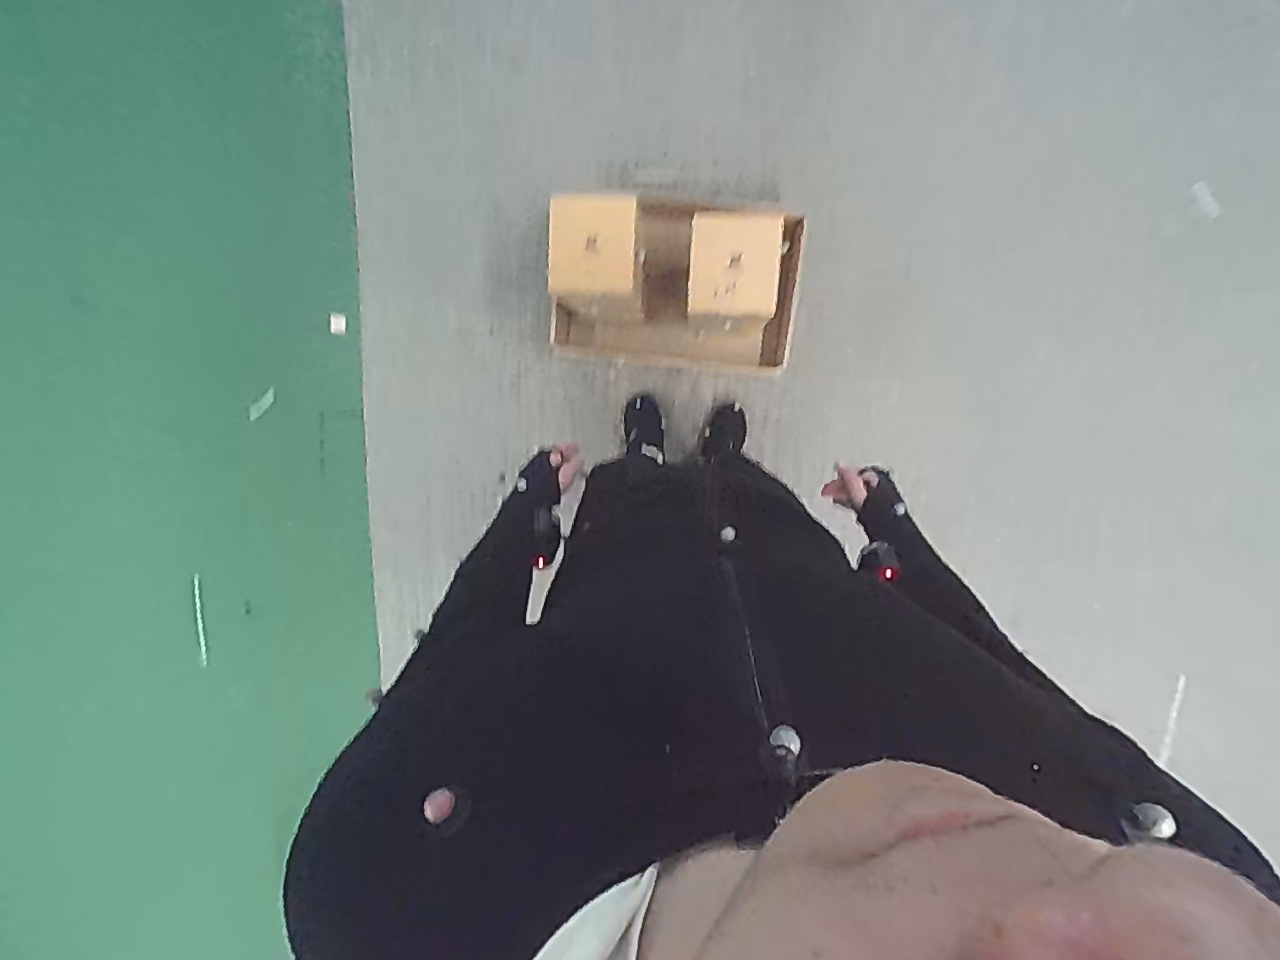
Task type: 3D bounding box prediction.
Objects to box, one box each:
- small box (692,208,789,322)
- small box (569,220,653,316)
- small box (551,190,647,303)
[{"bbox_3d":[0.190,-0.415,1.065,0.168,0.176,0.179,4,100,7],"label":"small box"},{"bbox_3d":[-0.061,-0.486,1.249,0.168,0.176,0.179,5,99,6],"label":"small box"},{"bbox_3d":[-0.077,-0.462,1.089,0.168,0.176,0.179,4,101,5],"label":"small box"}]
